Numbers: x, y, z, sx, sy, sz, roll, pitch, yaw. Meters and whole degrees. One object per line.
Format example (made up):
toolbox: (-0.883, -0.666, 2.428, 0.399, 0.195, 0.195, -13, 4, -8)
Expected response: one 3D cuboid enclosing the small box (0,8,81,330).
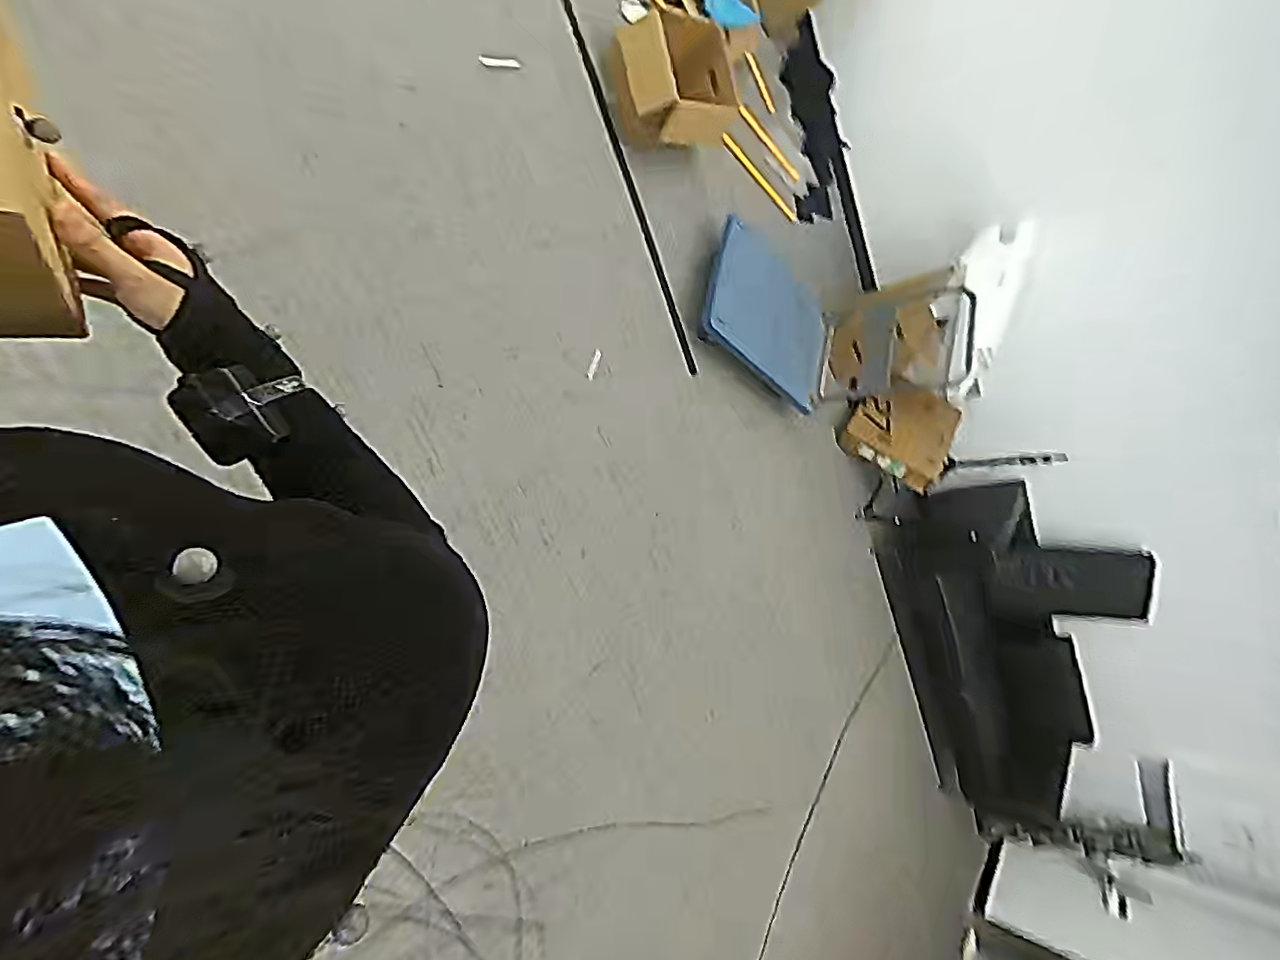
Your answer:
small box: (-0.432, -0.189, 0.280, 0.168, 0.176, 0.179, -12, 87, -39)
